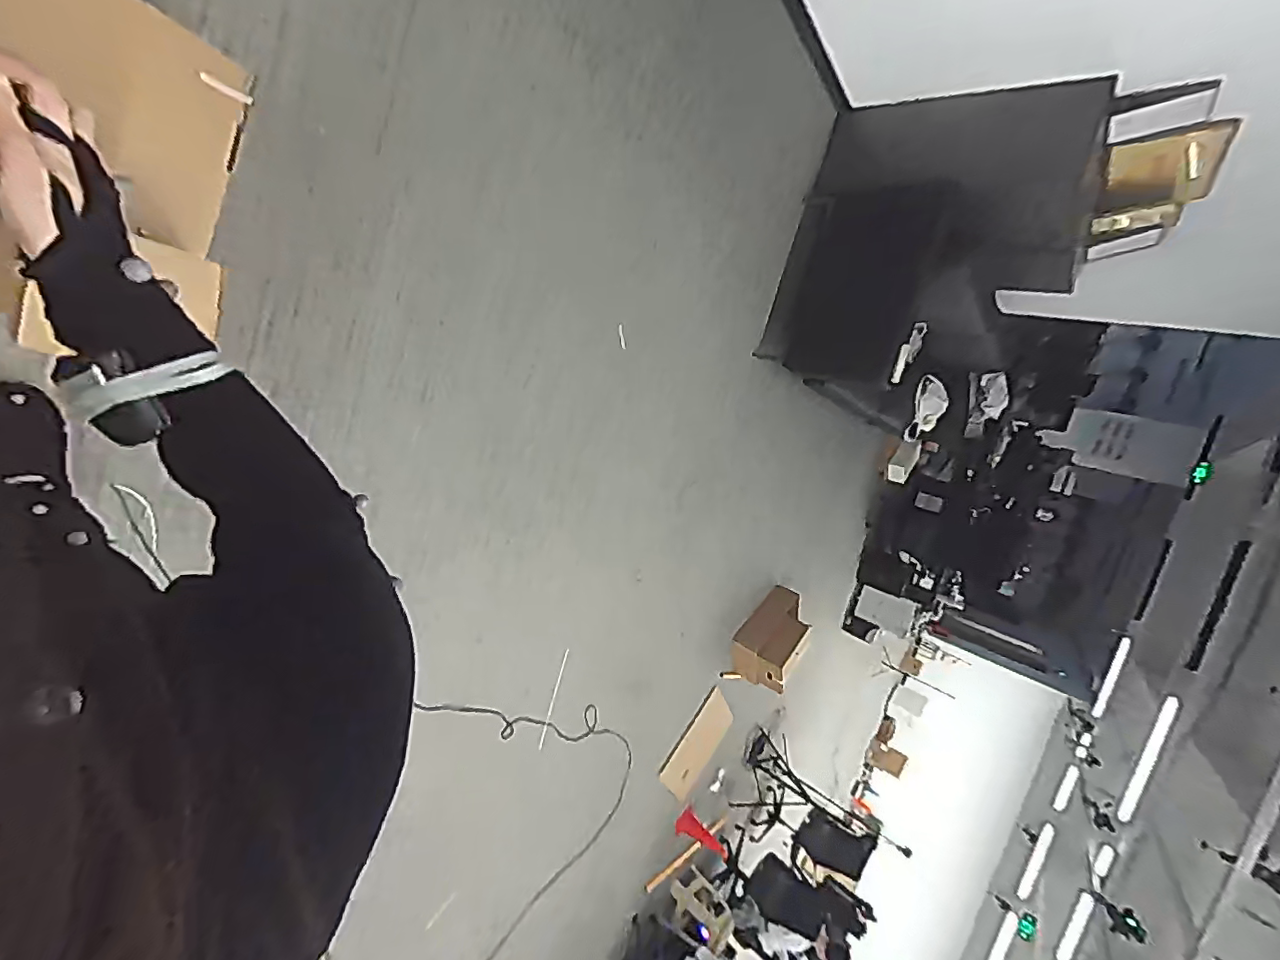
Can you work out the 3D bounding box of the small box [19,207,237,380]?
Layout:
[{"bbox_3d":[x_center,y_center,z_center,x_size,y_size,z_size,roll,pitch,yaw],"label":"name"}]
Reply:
[{"bbox_3d":[-0.689,-0.246,0.729,0.179,0.176,0.168,8,99,-53],"label":"small box"}]
